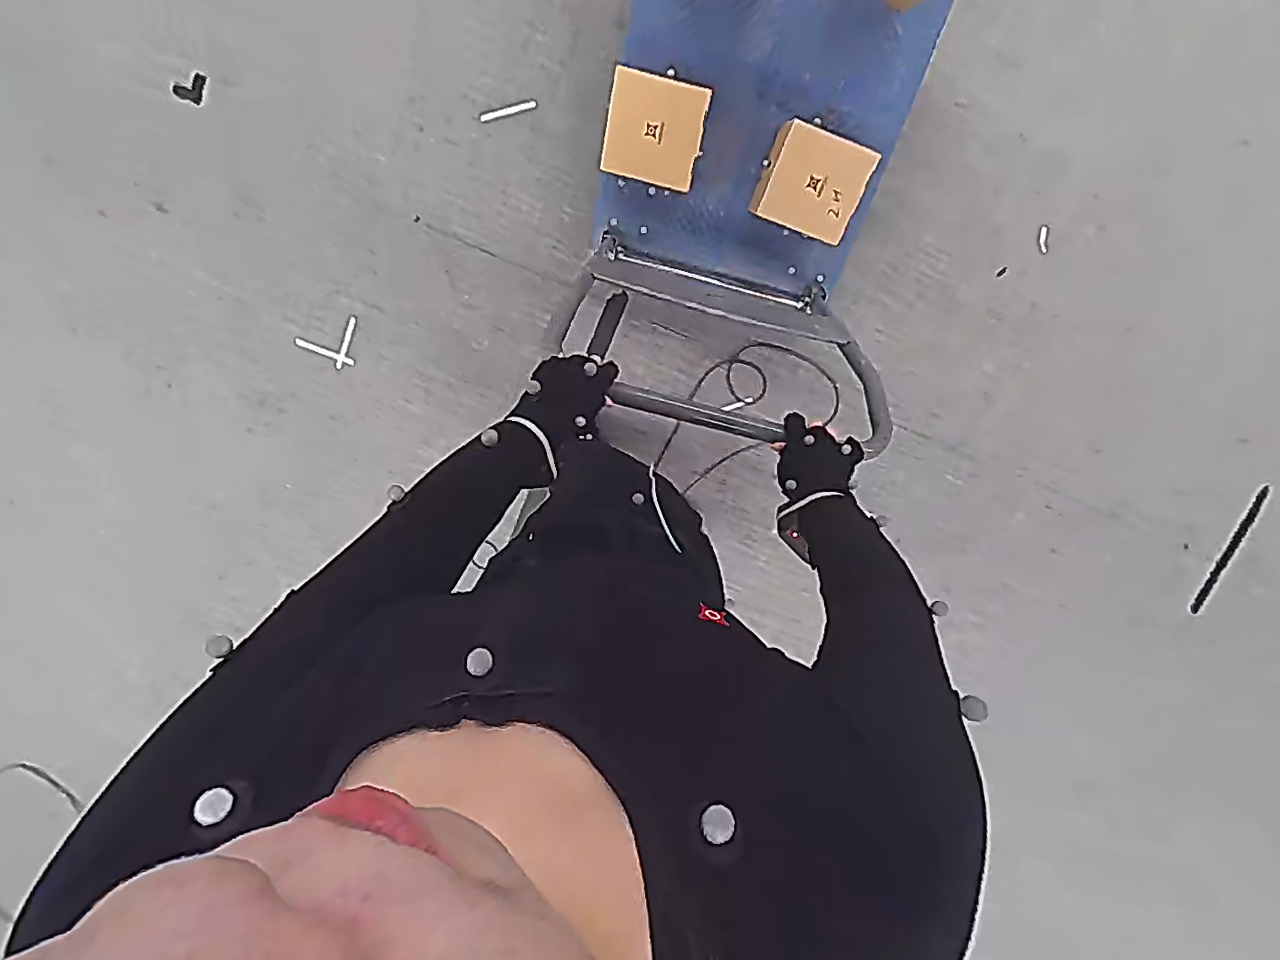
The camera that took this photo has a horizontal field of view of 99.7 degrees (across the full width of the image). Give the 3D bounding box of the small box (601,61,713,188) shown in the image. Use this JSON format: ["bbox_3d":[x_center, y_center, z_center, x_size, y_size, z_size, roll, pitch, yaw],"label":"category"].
[{"bbox_3d":[0.032,-0.680,1.051,0.179,0.176,0.168,12,120,-4],"label":"small box"}]

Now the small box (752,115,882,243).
[{"bbox_3d":[0.336,-0.593,1.074,0.179,0.176,0.168,19,120,-6],"label":"small box"}]
